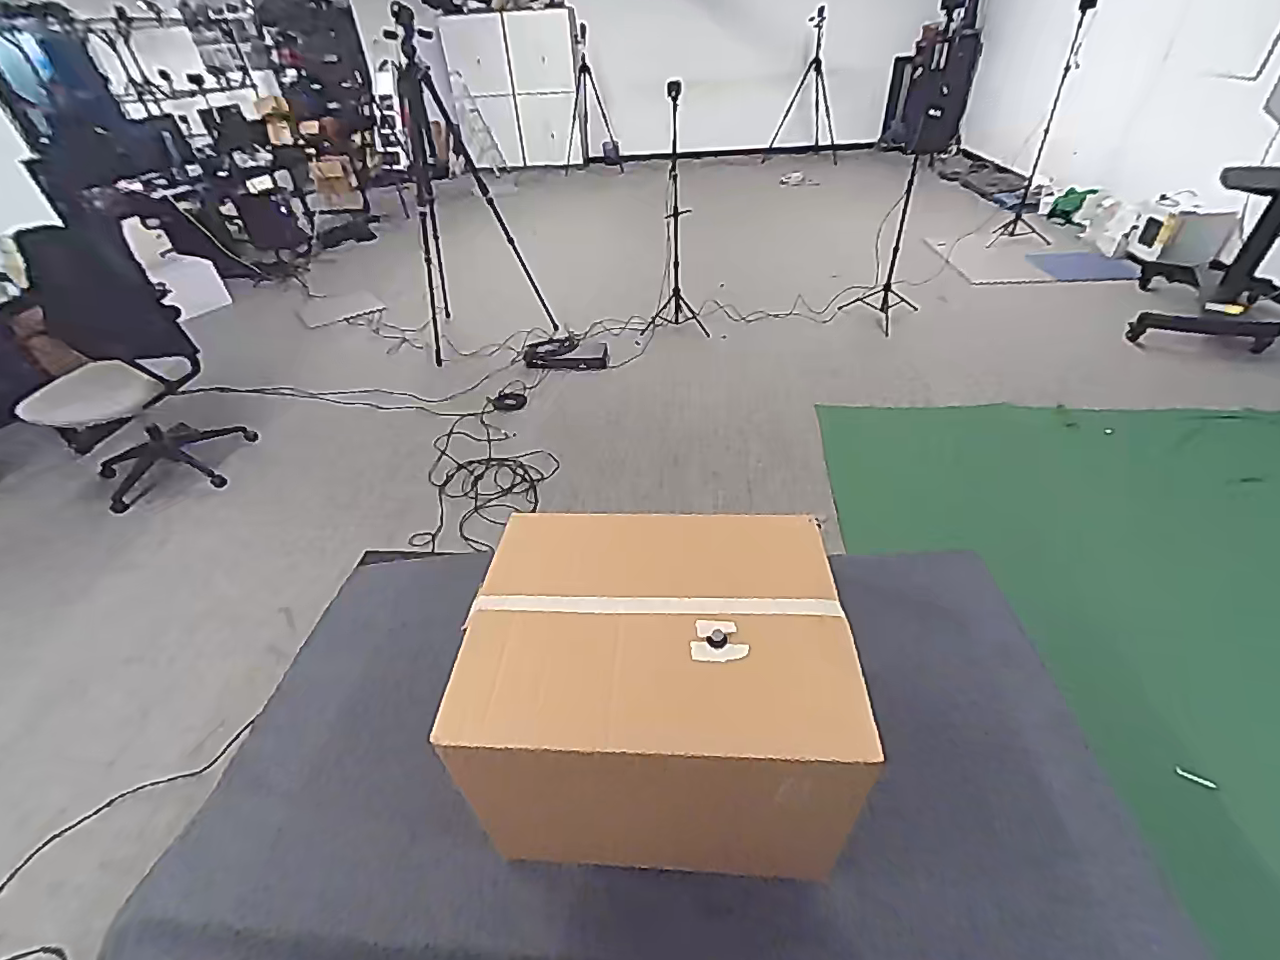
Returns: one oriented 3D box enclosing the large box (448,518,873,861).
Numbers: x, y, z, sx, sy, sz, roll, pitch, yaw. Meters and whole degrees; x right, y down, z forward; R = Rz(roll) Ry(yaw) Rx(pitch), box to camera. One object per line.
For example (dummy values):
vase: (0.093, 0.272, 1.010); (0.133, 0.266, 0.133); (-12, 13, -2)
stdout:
large box: (0.026, 0.263, 0.703); (0.408, 0.320, 0.320); (0, 39, 4)
